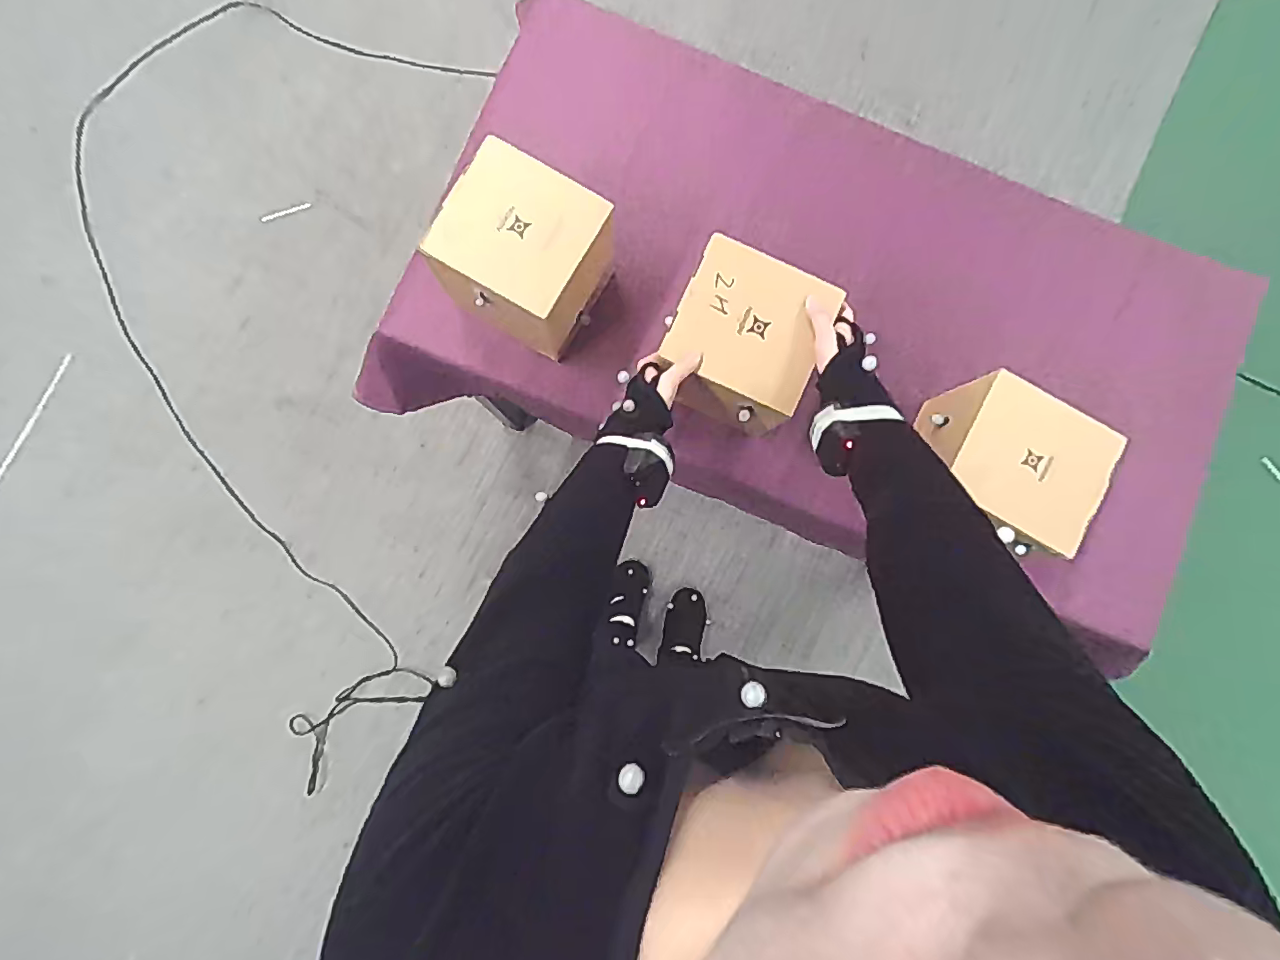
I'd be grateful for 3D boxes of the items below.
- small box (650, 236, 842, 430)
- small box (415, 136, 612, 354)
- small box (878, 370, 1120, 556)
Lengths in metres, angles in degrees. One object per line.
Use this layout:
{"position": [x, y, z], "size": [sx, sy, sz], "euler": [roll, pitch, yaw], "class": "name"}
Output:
{"position": [0.124, -0.176, 0.709], "size": [0.179, 0.176, 0.168], "euler": [25, 86, 0], "class": "small box"}
{"position": [-0.152, -0.291, 0.713], "size": [0.179, 0.176, 0.168], "euler": [30, 85, 0], "class": "small box"}
{"position": [0.453, -0.012, 0.713], "size": [0.179, 0.176, 0.168], "euler": [29, 84, 1], "class": "small box"}
